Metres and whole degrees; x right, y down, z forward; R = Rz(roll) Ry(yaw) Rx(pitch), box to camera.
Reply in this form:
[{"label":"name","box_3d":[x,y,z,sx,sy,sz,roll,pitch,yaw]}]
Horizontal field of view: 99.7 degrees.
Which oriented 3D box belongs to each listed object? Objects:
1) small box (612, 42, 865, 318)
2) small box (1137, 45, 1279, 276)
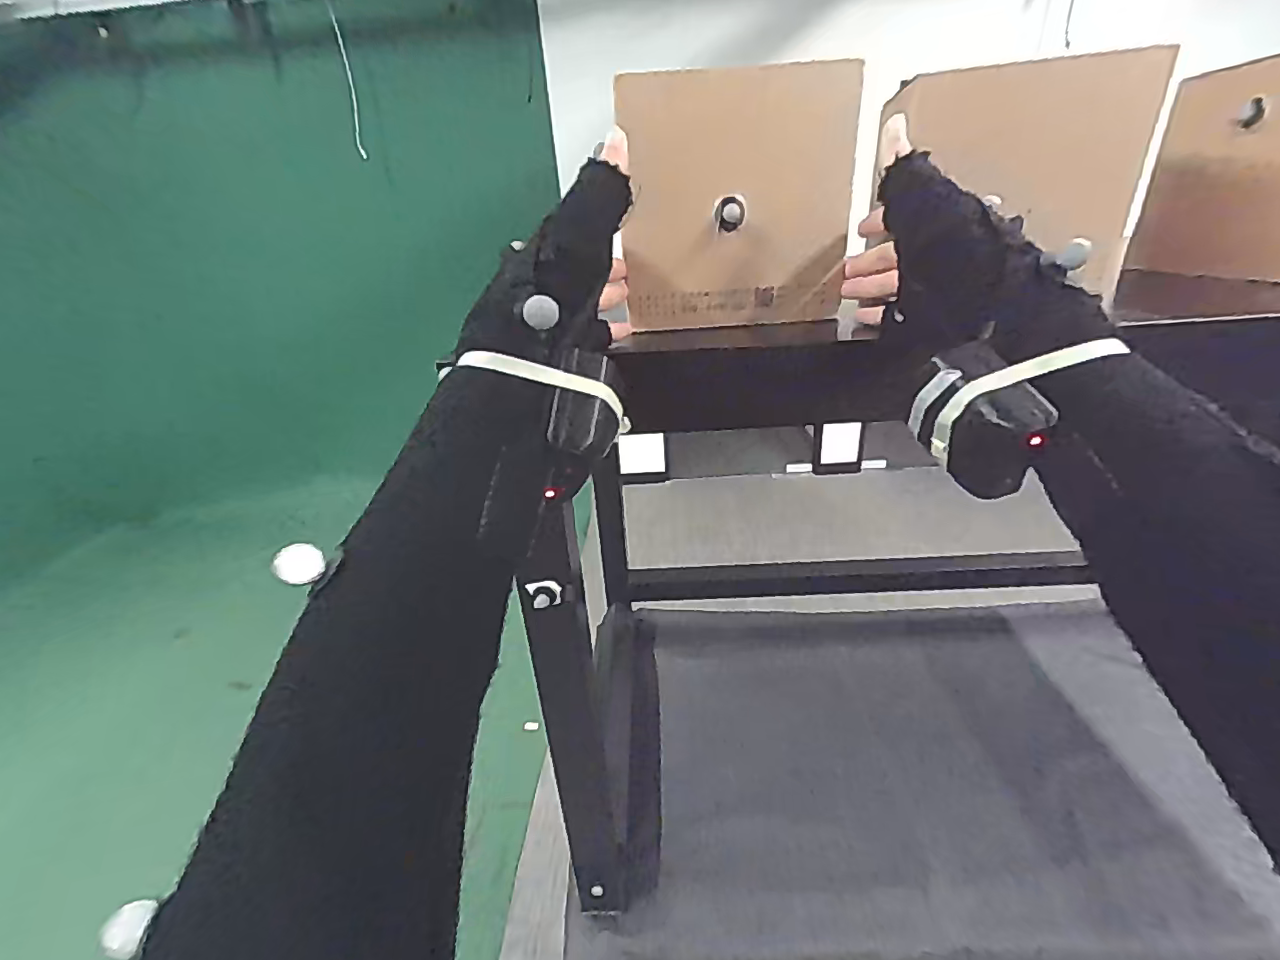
[{"label":"small box","box_3d":[0.067,-0.232,0.452,0.168,0.176,0.179,-3,26,0]},{"label":"small box","box_3d":[0.583,-0.265,0.447,0.168,0.176,0.179,-5,25,-1]}]
